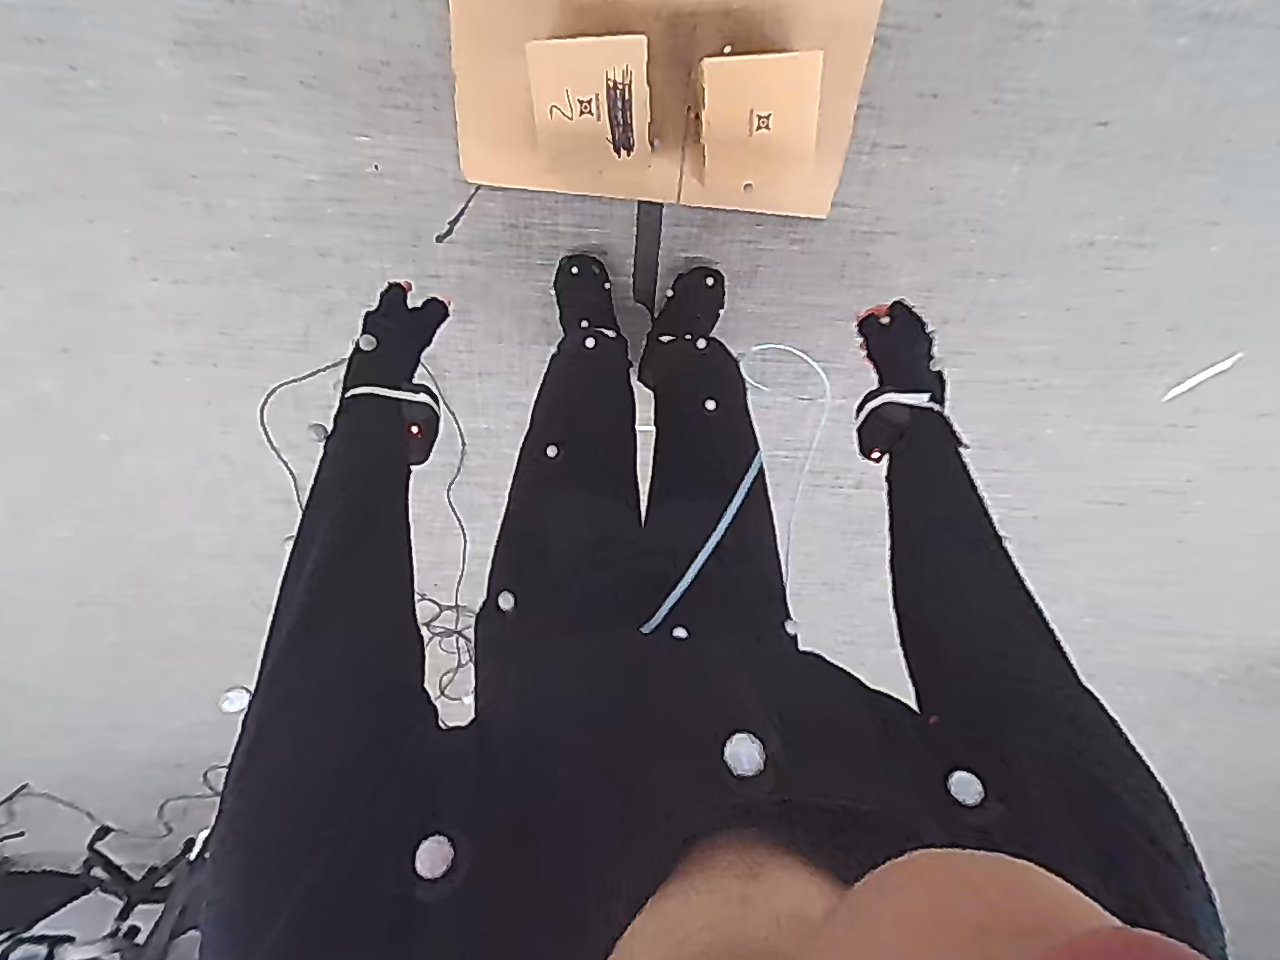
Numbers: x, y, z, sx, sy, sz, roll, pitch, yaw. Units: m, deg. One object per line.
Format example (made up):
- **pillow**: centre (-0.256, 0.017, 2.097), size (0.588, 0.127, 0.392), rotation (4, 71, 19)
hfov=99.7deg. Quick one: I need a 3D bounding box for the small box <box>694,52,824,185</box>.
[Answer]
- **small box**: centre (0.184, -0.594, 0.891), size (0.179, 0.176, 0.168), rotation (-3, 124, 3)
